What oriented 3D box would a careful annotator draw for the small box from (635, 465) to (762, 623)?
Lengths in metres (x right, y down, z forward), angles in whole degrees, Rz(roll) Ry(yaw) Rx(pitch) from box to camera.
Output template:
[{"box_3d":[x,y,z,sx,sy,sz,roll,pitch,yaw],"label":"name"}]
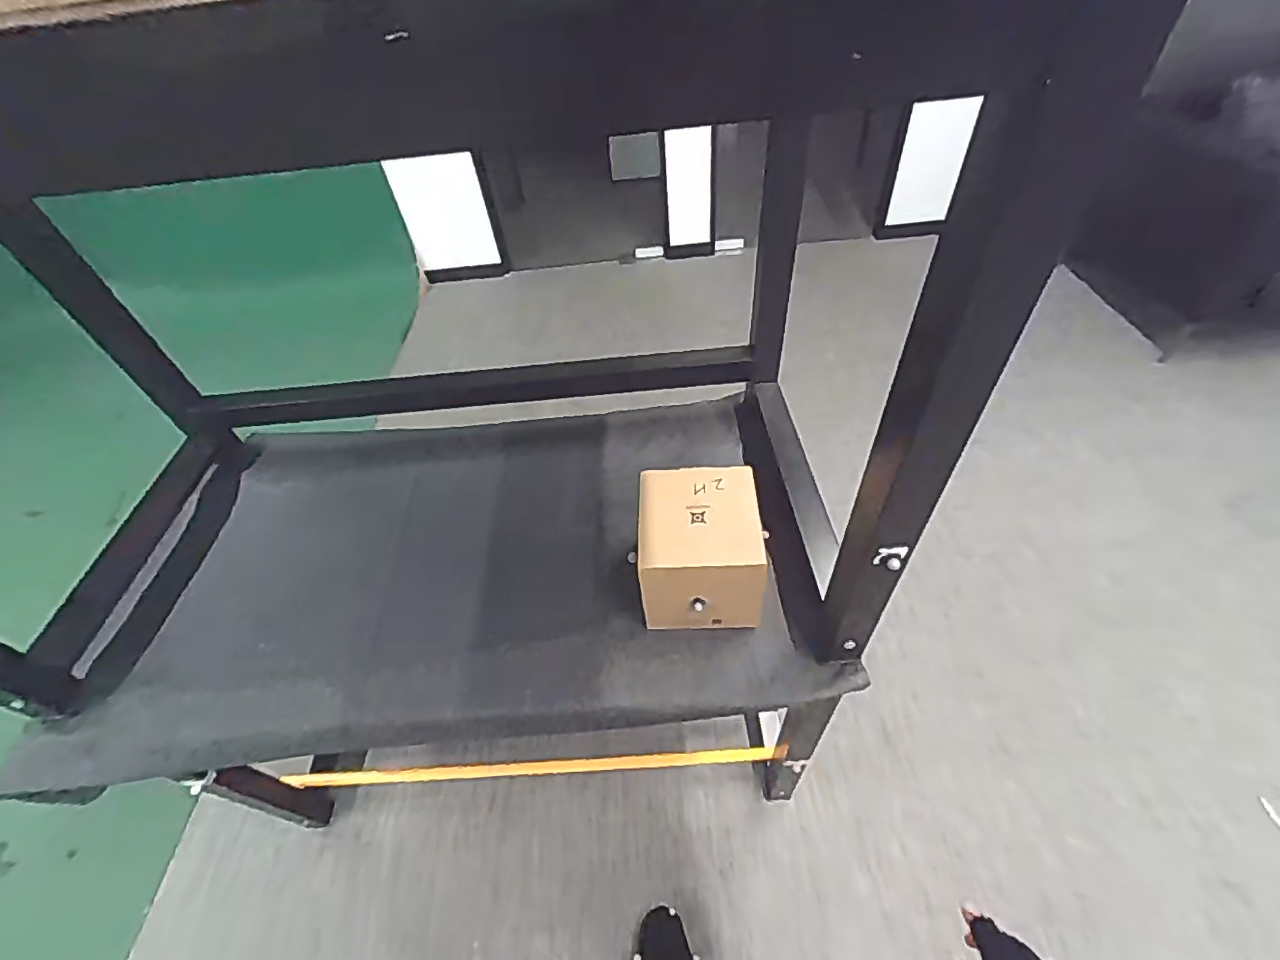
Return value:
[{"box_3d":[0.085,0.099,0.803,0.168,0.176,0.179,-2,47,5],"label":"small box"}]
